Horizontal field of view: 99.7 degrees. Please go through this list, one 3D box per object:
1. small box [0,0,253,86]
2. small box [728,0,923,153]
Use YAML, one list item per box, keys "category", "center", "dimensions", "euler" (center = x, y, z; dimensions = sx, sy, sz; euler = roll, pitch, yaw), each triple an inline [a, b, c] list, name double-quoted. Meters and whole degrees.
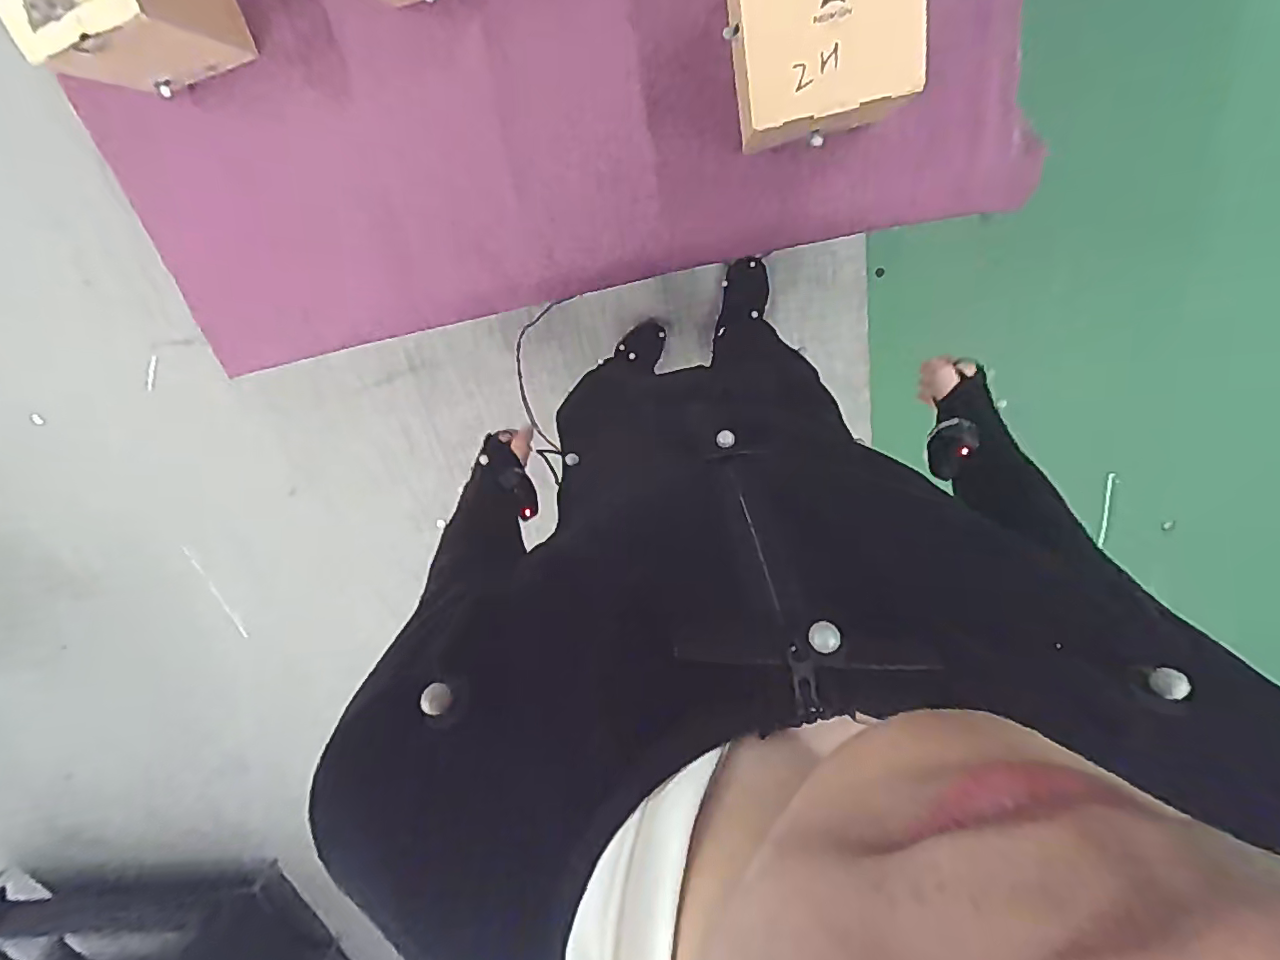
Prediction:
- category: "small box"
  center: [-0.603, -0.583, 0.621]
  dimensions: [0.168, 0.176, 0.179]
  euler: [-10, 114, 11]
- category: "small box"
  center: [0.186, -0.474, 0.575]
  dimensions: [0.168, 0.176, 0.179]
  euler: [-7, 113, 11]
